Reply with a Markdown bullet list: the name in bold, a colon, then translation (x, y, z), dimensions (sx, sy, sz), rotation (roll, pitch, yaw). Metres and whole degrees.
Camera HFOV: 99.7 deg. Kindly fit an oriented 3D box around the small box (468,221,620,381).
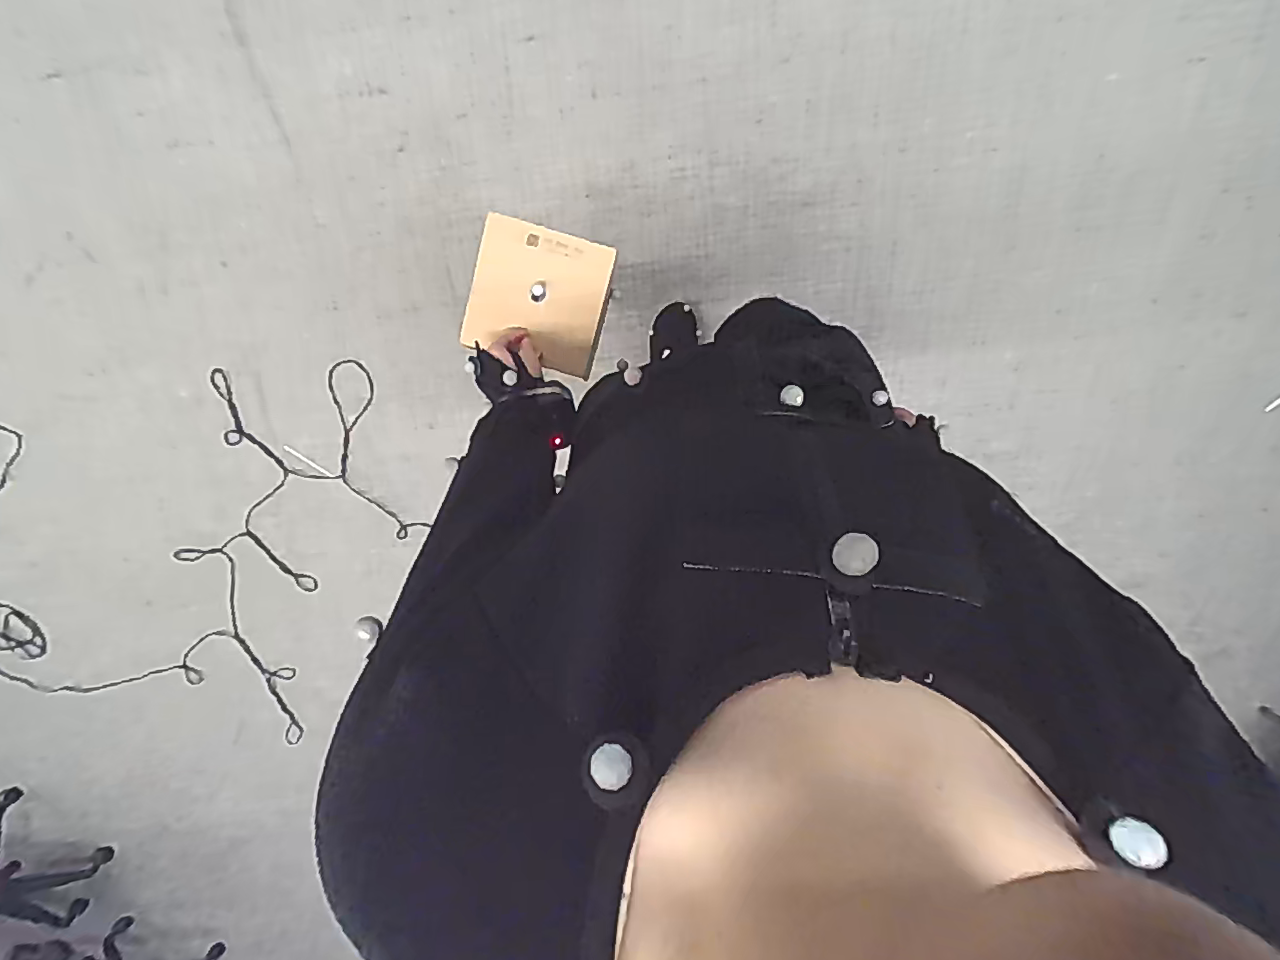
- **small box**: translation (-0.128, -0.243, 0.763), dimensions (0.168, 0.179, 0.176), rotation (14, 99, -5)
